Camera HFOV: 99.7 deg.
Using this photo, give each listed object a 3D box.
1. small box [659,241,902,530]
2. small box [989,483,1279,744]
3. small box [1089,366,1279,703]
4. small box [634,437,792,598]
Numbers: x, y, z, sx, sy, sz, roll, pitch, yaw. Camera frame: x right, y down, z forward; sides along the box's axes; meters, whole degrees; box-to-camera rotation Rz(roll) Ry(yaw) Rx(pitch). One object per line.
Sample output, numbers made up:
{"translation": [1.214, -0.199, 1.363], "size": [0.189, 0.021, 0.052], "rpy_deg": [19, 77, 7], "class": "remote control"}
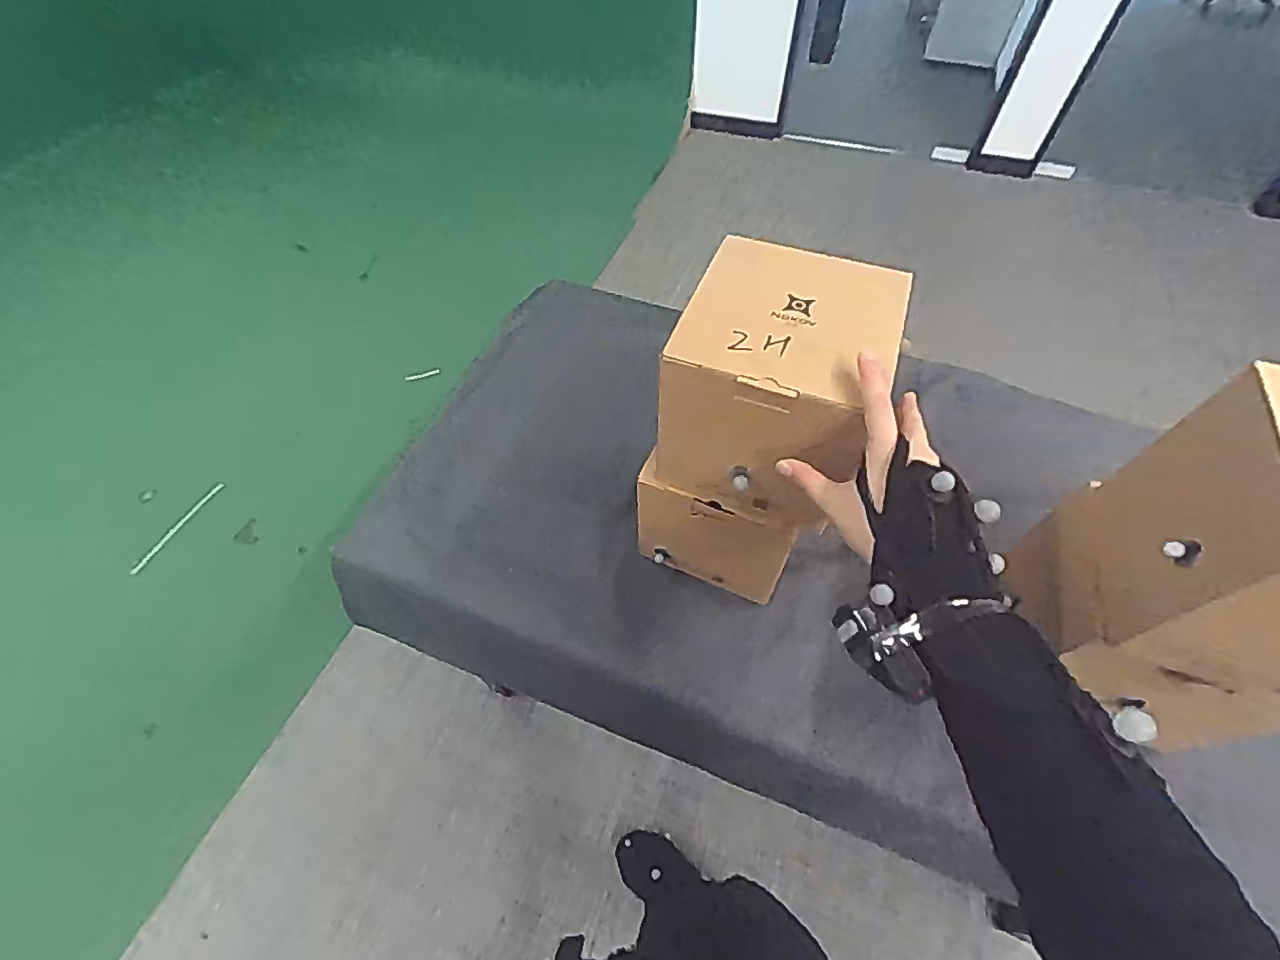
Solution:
{"translation": [0.119, -0.085, 0.501], "size": [0.168, 0.176, 0.179], "rpy_deg": [18, 56, 14], "class": "small box"}
{"translation": [0.479, 0.138, 0.541], "size": [0.168, 0.176, 0.179], "rpy_deg": [19, 58, 14], "class": "small box"}
{"translation": [0.481, 0.051, 0.403], "size": [0.168, 0.176, 0.179], "rpy_deg": [19, 56, 12], "class": "small box"}
{"translation": [0.104, 0.012, 0.635], "size": [0.168, 0.176, 0.179], "rpy_deg": [21, 57, 14], "class": "small box"}
